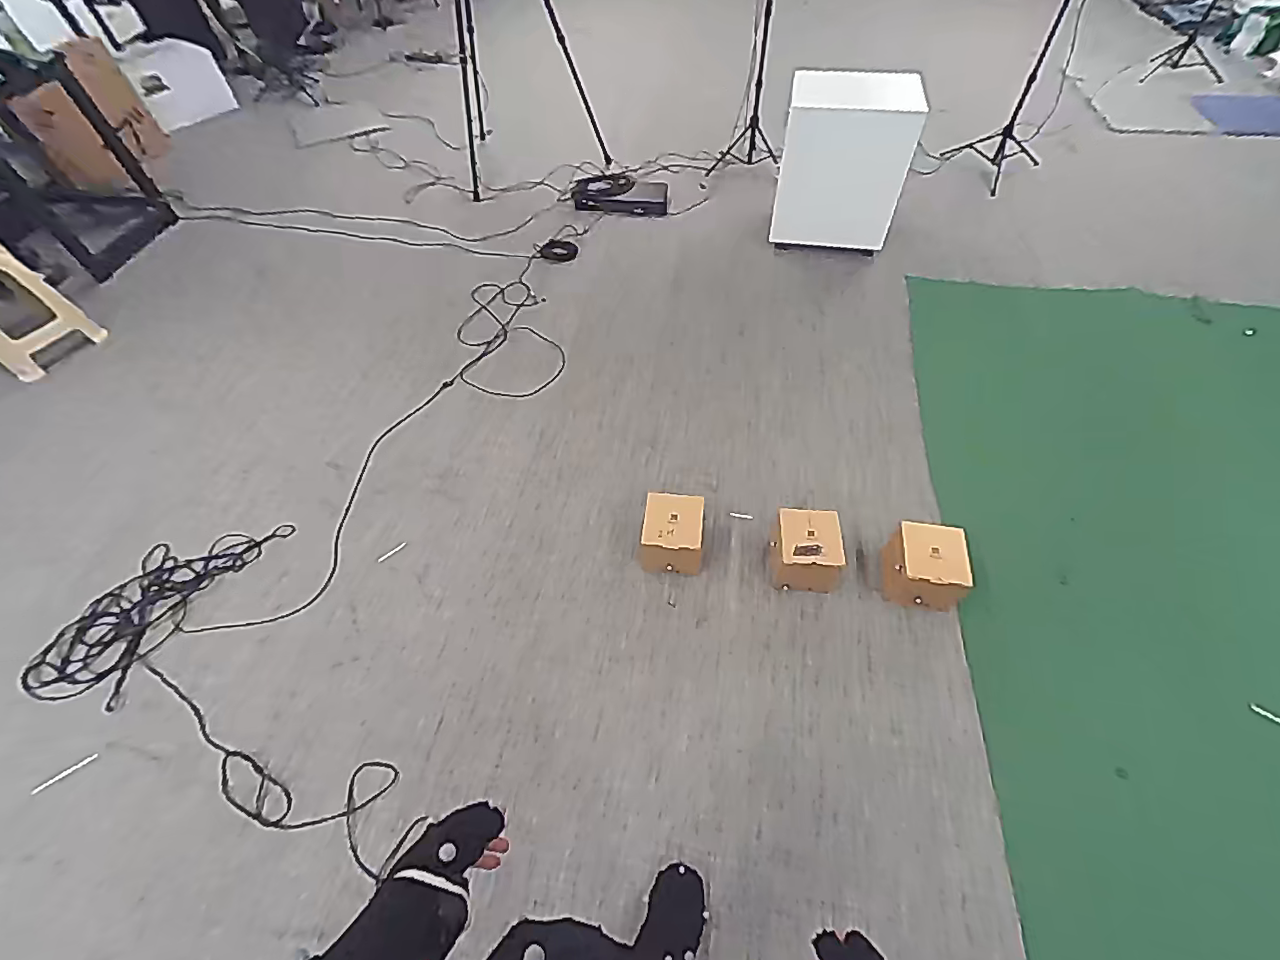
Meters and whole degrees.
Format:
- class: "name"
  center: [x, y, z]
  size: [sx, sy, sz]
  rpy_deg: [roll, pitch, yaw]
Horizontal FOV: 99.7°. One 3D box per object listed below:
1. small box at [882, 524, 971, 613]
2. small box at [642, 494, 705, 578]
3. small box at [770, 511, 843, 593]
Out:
- class: "small box"
  center: [0.788, 0.249, 1.510]
  size: [0.168, 0.176, 0.179]
  rpy_deg: [7, 55, 8]
- class: "small box"
  center: [0.099, 0.165, 1.588]
  size: [0.168, 0.176, 0.179]
  rpy_deg: [5, 55, 7]
- class: "small box"
  center: [0.469, 0.210, 1.547]
  size: [0.168, 0.176, 0.179]
  rpy_deg: [4, 53, 4]
